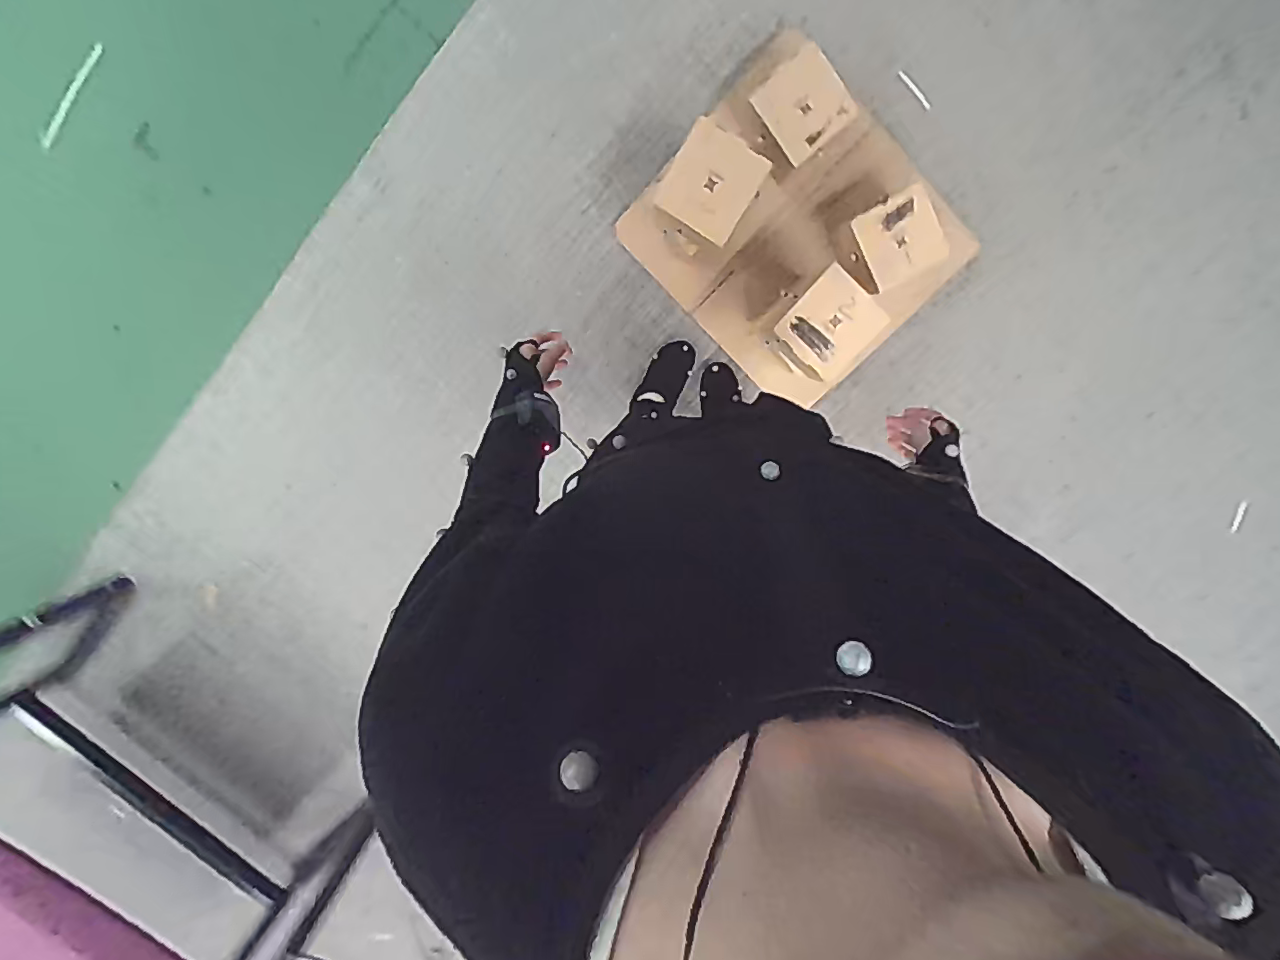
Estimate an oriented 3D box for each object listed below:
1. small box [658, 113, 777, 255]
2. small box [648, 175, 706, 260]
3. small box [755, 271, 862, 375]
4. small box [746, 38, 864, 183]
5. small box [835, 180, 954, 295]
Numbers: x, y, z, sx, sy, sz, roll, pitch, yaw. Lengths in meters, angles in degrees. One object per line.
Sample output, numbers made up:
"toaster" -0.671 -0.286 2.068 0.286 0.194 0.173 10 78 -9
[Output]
"small box" 0.149 -0.586 1.098 0.168 0.176 0.179 32 105 -5
"small box" 0.138 -0.637 1.255 0.179 0.176 0.168 -39 101 12
"small box" 0.395 -0.375 1.308 0.179 0.176 0.168 -40 100 12
"small box" 0.354 -0.800 1.195 0.168 0.176 0.179 -37 99 12
"small box" 0.576 -0.546 1.246 0.168 0.176 0.179 -28 103 11
